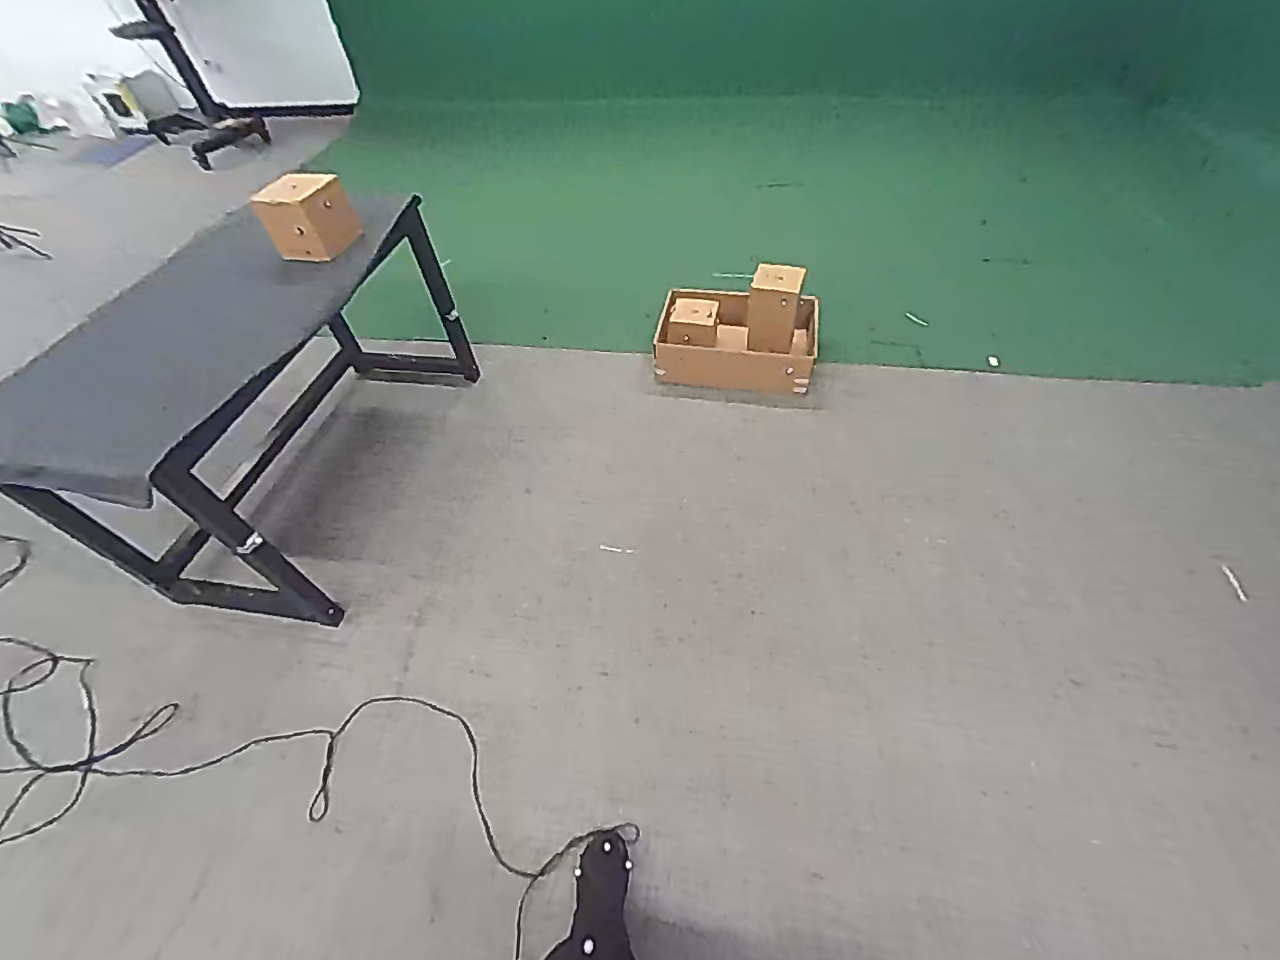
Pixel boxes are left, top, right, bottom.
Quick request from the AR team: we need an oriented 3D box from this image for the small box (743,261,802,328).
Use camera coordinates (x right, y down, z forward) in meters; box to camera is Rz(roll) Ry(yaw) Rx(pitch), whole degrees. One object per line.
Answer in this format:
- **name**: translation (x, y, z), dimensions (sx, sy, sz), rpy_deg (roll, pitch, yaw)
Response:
- **small box**: translation (0.496, -0.694, 2.030), dimensions (0.179, 0.176, 0.168), rpy_deg (13, 54, 15)

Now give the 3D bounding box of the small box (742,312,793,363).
- **small box**: translation (0.507, -0.595, 2.161), dimensions (0.168, 0.176, 0.179), rpy_deg (12, 55, 15)

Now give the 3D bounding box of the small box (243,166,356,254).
- **small box**: translation (-0.938, -0.753, 1.512), dimensions (0.168, 0.176, 0.179), rpy_deg (9, 51, 11)
